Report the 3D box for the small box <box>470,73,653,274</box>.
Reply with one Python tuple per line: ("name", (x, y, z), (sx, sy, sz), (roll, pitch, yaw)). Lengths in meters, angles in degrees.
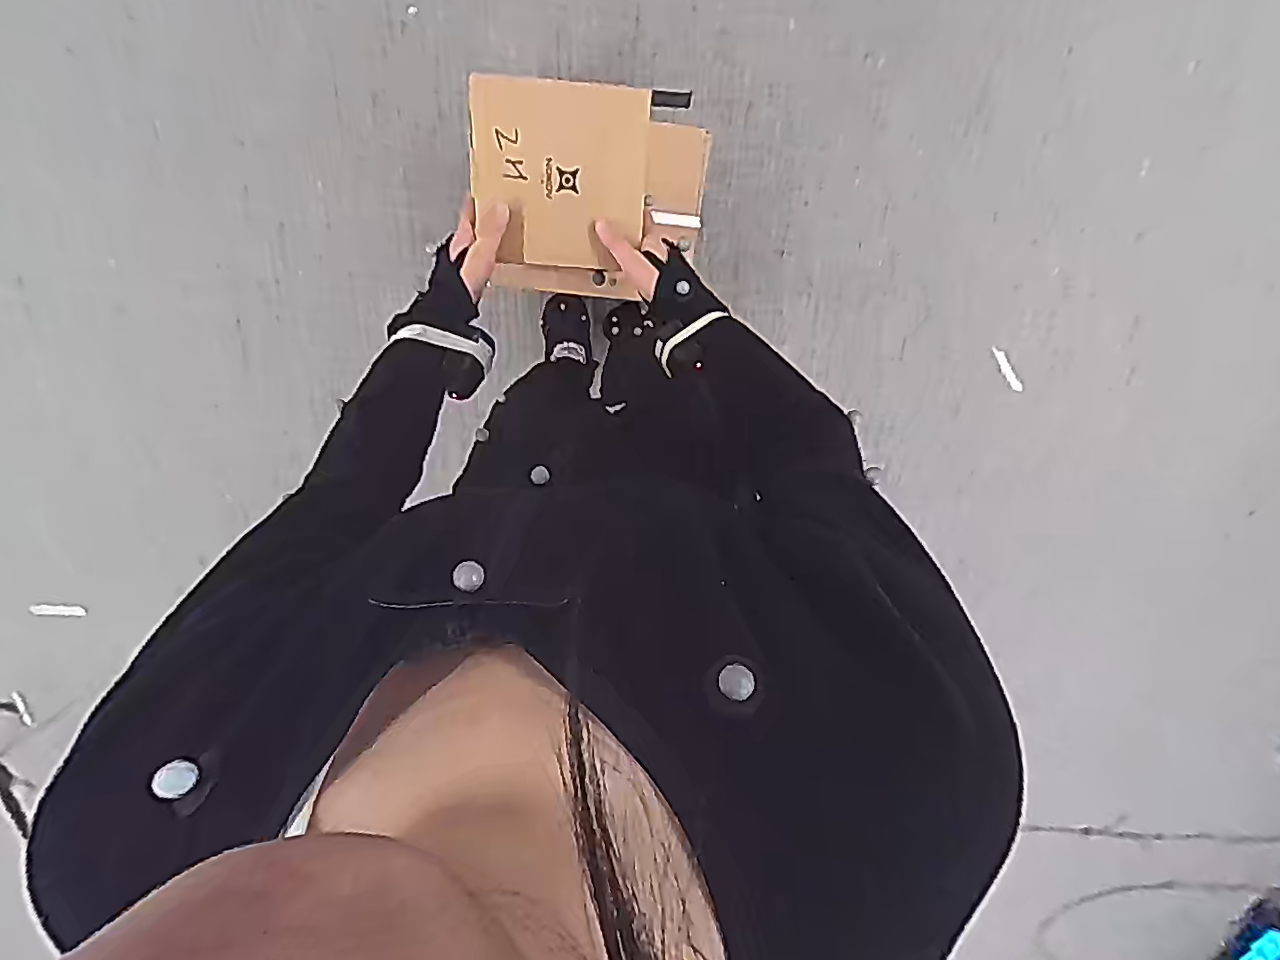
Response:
("small box", (-0.084, -0.333, 0.615), (0.179, 0.176, 0.168), (3, 113, -4))
